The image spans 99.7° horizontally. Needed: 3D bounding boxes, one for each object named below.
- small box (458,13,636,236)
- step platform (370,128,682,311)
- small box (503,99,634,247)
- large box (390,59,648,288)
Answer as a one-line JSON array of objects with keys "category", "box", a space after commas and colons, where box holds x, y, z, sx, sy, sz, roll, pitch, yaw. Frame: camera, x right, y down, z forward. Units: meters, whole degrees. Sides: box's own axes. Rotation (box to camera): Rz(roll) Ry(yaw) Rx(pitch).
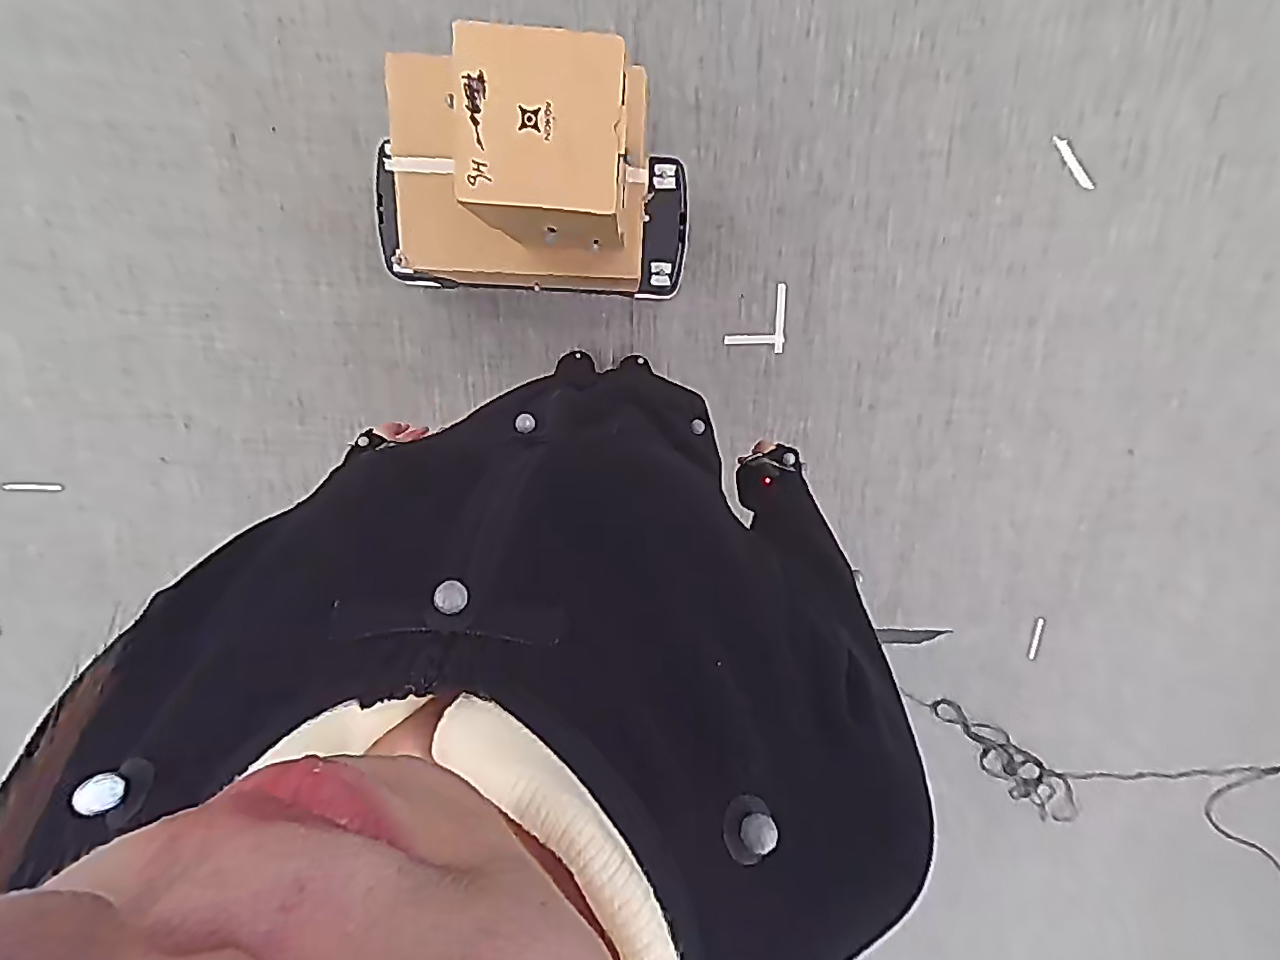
[{"category": "small box", "box": [-0.100, -0.388, 0.625, 0.179, 0.176, 0.168, 4, 105, -3]}, {"category": "step platform", "box": [-0.247, -0.579, 1.241, 0.684, 0.204, 0.286, 8, 105, -2]}, {"category": "small box", "box": [-0.099, -0.438, 0.782, 0.179, 0.176, 0.168, 2, 106, -1]}, {"category": "large box", "box": [-0.188, -0.531, 1.008, 0.408, 0.320, 0.320, 2, 105, -1]}]
